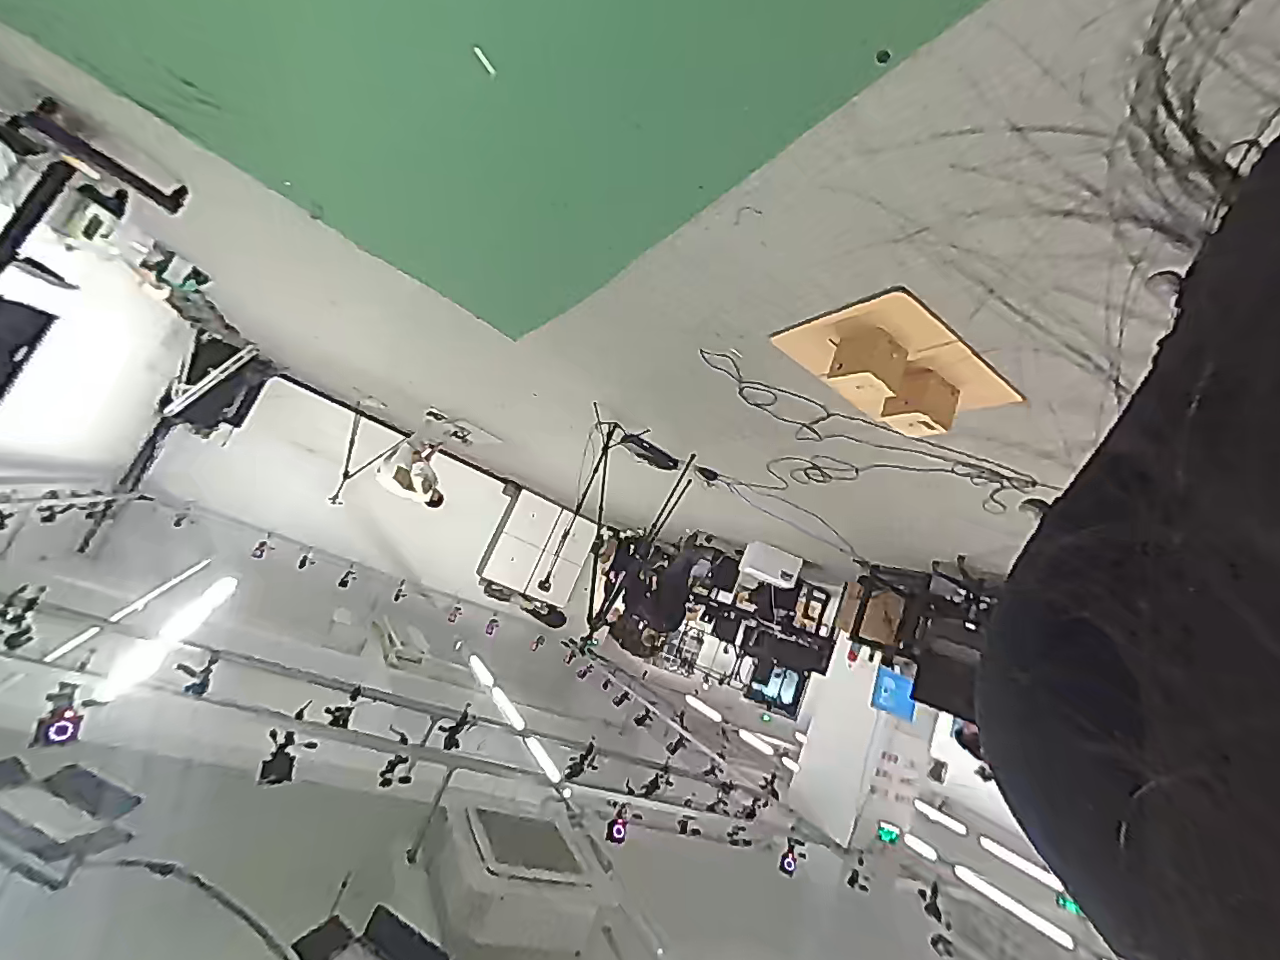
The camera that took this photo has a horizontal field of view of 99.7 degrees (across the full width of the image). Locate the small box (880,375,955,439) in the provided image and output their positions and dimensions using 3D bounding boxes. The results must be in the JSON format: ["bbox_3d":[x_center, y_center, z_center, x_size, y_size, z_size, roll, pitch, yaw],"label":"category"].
[{"bbox_3d":[1.026,-0.267,1.987,0.168,0.176,0.179,27,168,-22],"label":"small box"}]

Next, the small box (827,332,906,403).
[{"bbox_3d":[0.794,-0.391,1.891,0.168,0.176,0.179,28,166,-28],"label":"small box"}]
